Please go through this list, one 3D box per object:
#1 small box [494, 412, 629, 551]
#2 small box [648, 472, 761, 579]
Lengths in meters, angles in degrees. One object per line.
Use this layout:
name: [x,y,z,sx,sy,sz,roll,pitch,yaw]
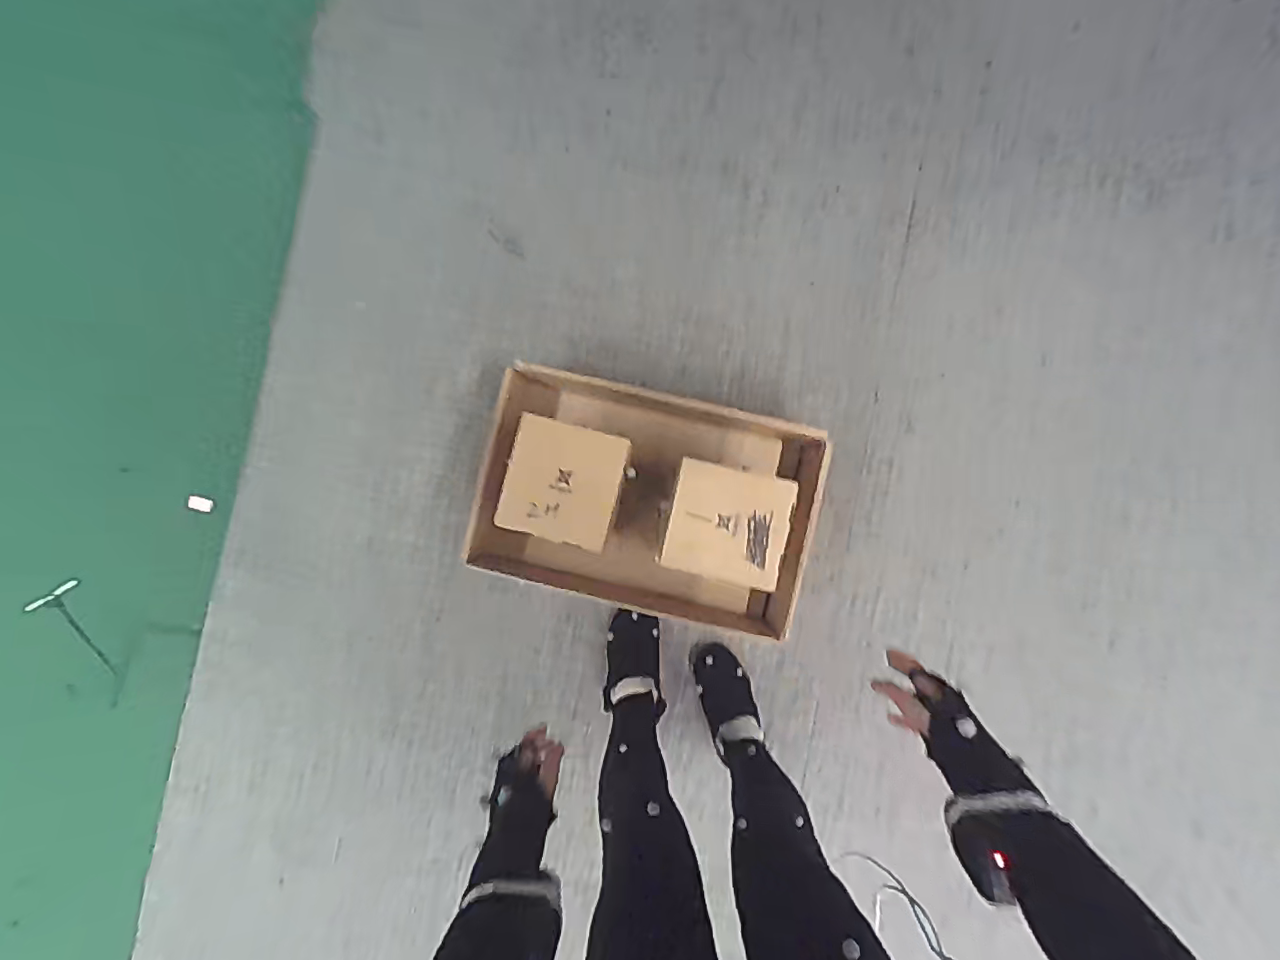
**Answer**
small box: [-0.118,0.004,0.886,0.168,0.176,0.179,15,89,2]
small box: [0.120,0.084,1.045,0.179,0.176,0.168,11,89,3]
